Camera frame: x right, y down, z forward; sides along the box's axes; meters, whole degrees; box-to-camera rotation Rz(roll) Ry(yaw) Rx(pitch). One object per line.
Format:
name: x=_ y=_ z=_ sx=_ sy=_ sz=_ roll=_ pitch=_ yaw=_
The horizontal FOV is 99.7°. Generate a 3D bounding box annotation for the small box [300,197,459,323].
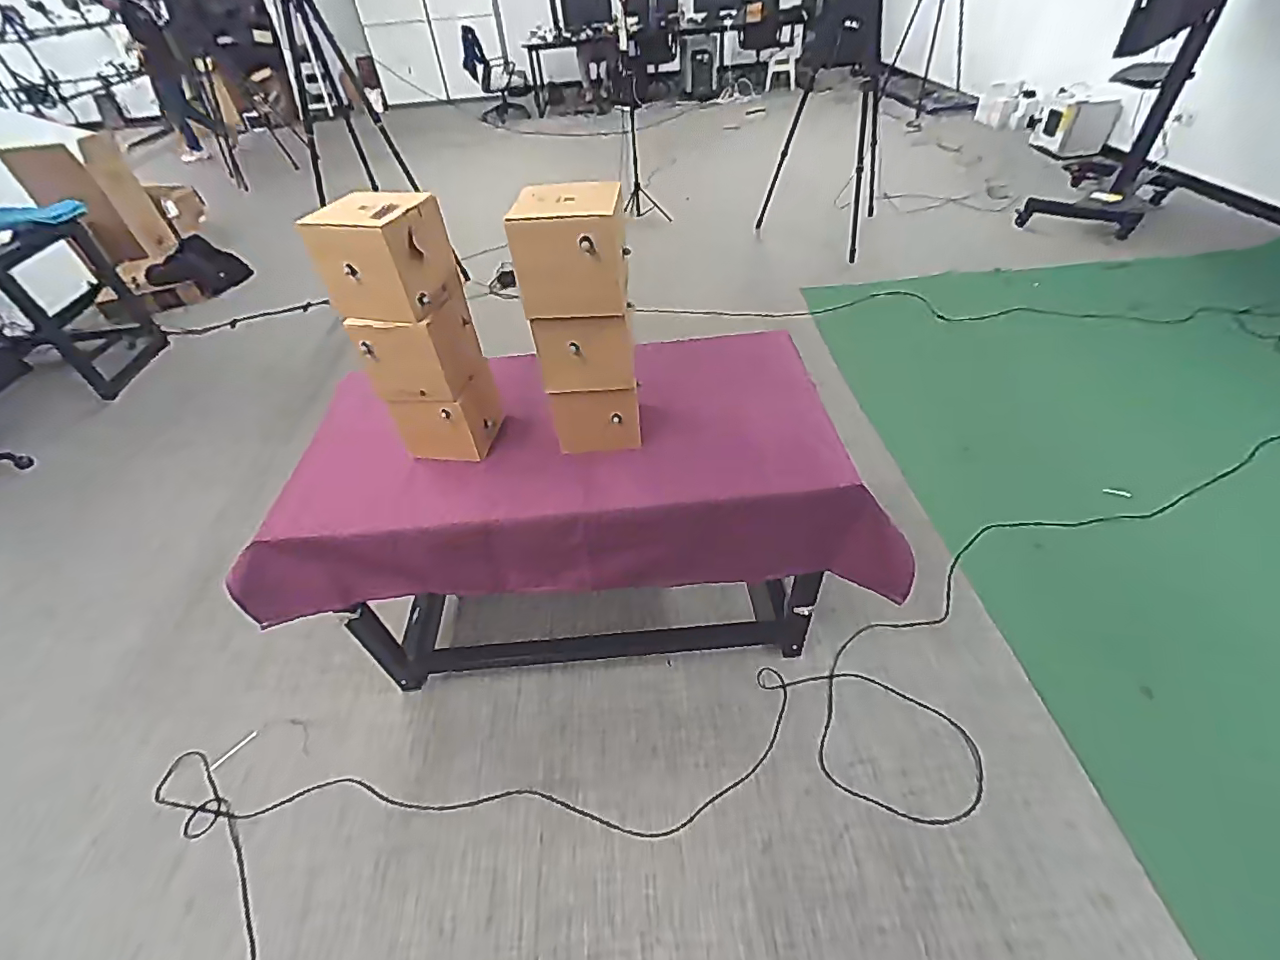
small box: x=-0.465 y=-0.405 z=1.000 sx=0.179 sy=0.176 sz=0.168 roll=7 pitch=45 yaw=14

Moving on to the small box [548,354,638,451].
small box: x=-0.095 y=-0.181 z=1.202 sx=0.179 sy=0.176 sz=0.168 roll=-4 pitch=43 yaw=2

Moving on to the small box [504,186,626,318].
small box: x=-0.120 y=-0.401 z=0.957 sx=0.179 sy=0.176 sz=0.168 roll=-1 pitch=43 yaw=5

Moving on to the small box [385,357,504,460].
small box: x=-0.428 y=-0.160 z=1.217 sx=0.179 sy=0.176 sz=0.168 roll=3 pitch=45 yaw=8

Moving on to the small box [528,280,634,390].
small box: x=-0.110 y=-0.293 z=1.083 sx=0.179 sy=0.176 sz=0.168 roll=-3 pitch=44 yaw=3
